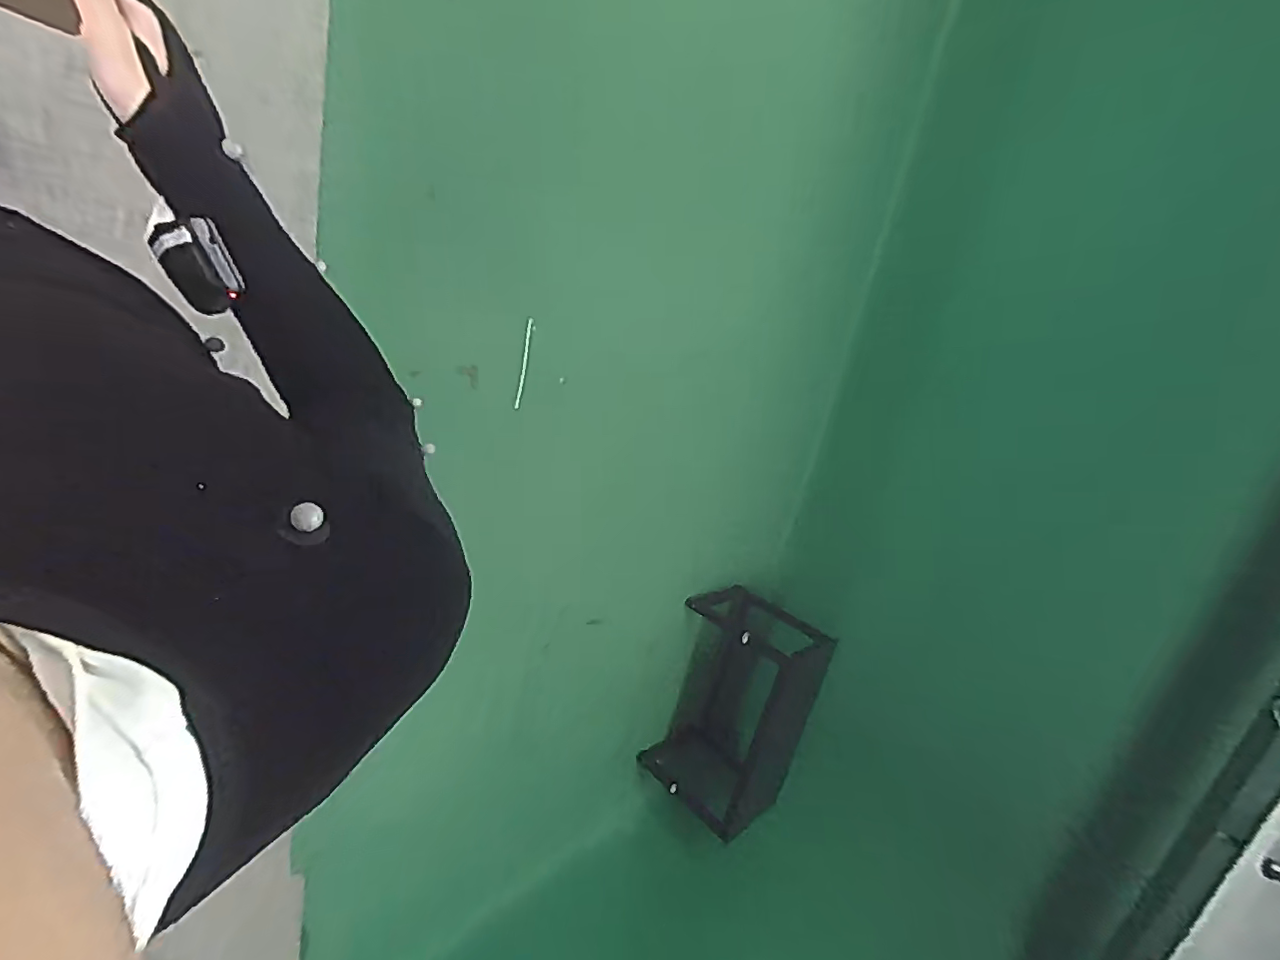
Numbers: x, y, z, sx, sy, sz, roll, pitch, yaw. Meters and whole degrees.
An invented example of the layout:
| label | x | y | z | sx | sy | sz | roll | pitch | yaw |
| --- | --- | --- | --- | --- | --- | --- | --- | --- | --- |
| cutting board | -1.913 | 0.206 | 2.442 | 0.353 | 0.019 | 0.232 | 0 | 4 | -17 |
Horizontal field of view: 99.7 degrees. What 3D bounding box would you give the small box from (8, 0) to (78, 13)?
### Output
| label | x | y | z | sx | sy | sz | roll | pitch | yaw |
| --- | --- | --- | --- | --- | --- | --- | --- | --- | --- |
| small box | -0.469 | -0.436 | 0.329 | 0.179 | 0.176 | 0.168 | -3 | 110 | -47 |
